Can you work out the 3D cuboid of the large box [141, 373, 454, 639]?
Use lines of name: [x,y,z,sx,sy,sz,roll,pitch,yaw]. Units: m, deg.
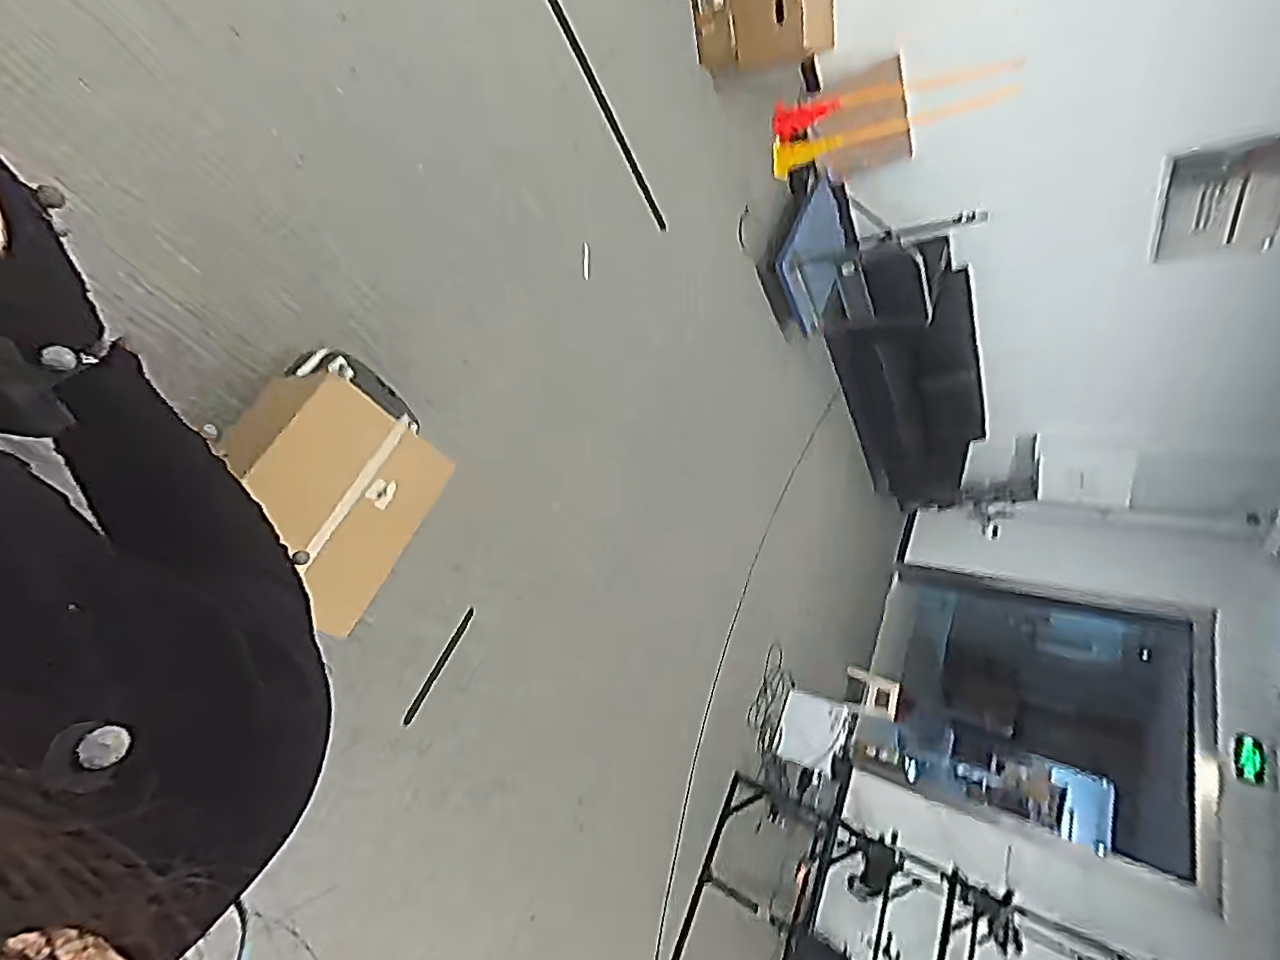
large box: [-0.666,0.048,1.082,0.320,0.320,0.408,49,56,-43]
